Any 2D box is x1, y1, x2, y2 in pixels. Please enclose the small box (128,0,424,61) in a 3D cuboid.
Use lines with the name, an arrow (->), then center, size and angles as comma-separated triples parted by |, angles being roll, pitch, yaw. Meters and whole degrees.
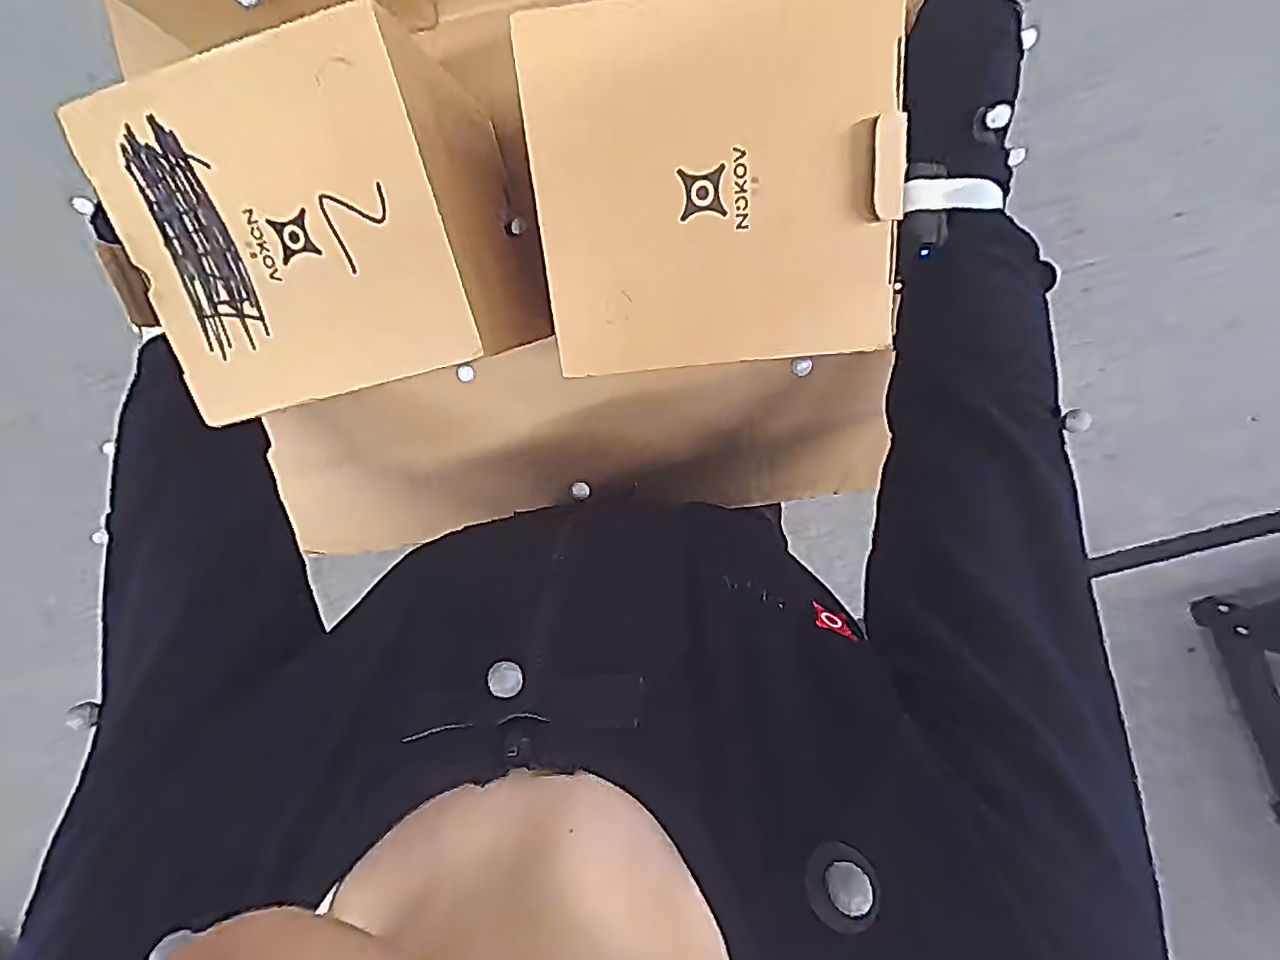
small box -> -0.250, -0.385, 0.311 | 0.168, 0.176, 0.179 | -9, 98, 7
